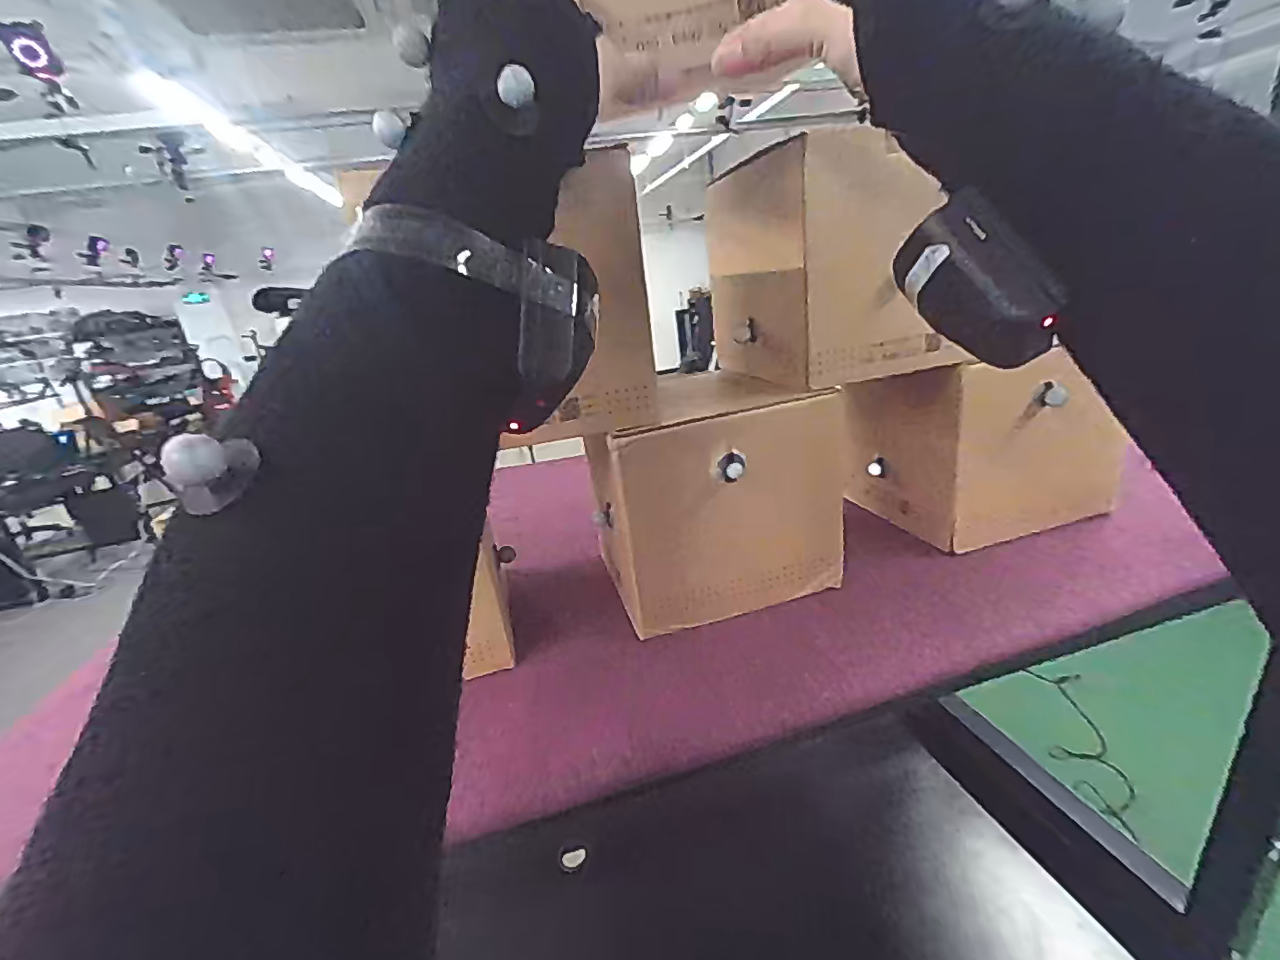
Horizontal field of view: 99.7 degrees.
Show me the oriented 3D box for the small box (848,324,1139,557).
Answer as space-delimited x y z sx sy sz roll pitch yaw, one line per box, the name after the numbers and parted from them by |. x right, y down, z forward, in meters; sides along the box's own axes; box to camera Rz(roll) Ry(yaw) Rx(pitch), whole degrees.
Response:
0.319 -0.048 0.527 0.179 0.176 0.168 -14 20 -10 | small box

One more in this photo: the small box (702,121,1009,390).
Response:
0.164 -0.175 0.456 0.168 0.176 0.179 -11 21 -11 | small box

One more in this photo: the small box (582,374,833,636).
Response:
0.052 0.012 0.473 0.179 0.176 0.168 -12 20 -10 | small box

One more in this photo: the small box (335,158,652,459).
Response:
-0.094 -0.120 0.408 0.168 0.176 0.179 -11 20 -9 | small box

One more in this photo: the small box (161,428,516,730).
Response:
-0.208 0.063 0.432 0.179 0.176 0.168 -13 21 -12 | small box
